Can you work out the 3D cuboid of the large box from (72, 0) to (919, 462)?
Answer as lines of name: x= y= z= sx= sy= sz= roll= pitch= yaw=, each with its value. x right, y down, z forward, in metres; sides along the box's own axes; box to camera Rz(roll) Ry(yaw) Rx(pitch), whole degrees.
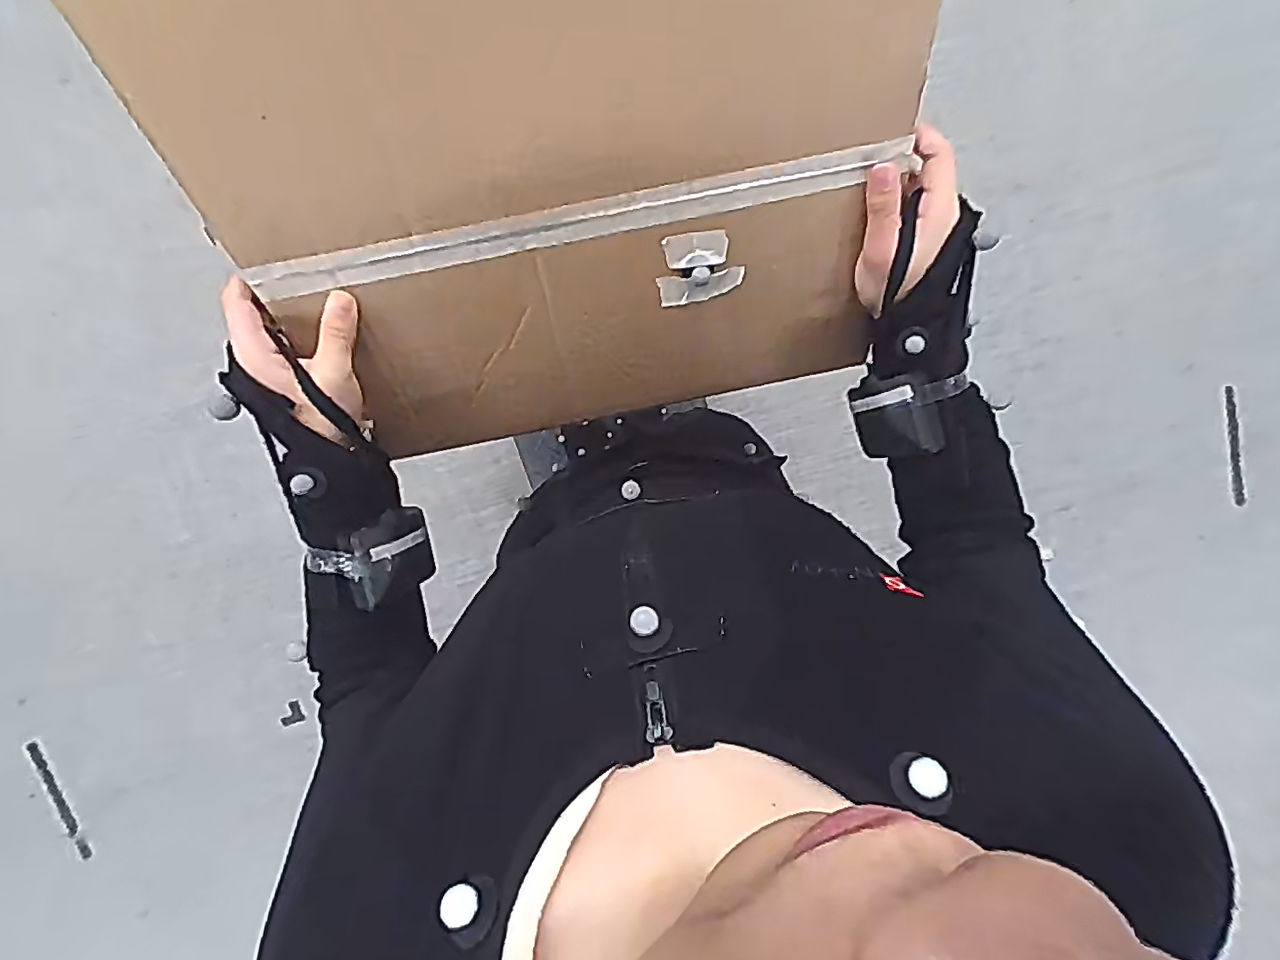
large box: x=-0.064 y=-0.266 z=0.440 sx=0.408 sy=0.320 sz=0.320 roll=-13 pitch=138 yaw=-2
